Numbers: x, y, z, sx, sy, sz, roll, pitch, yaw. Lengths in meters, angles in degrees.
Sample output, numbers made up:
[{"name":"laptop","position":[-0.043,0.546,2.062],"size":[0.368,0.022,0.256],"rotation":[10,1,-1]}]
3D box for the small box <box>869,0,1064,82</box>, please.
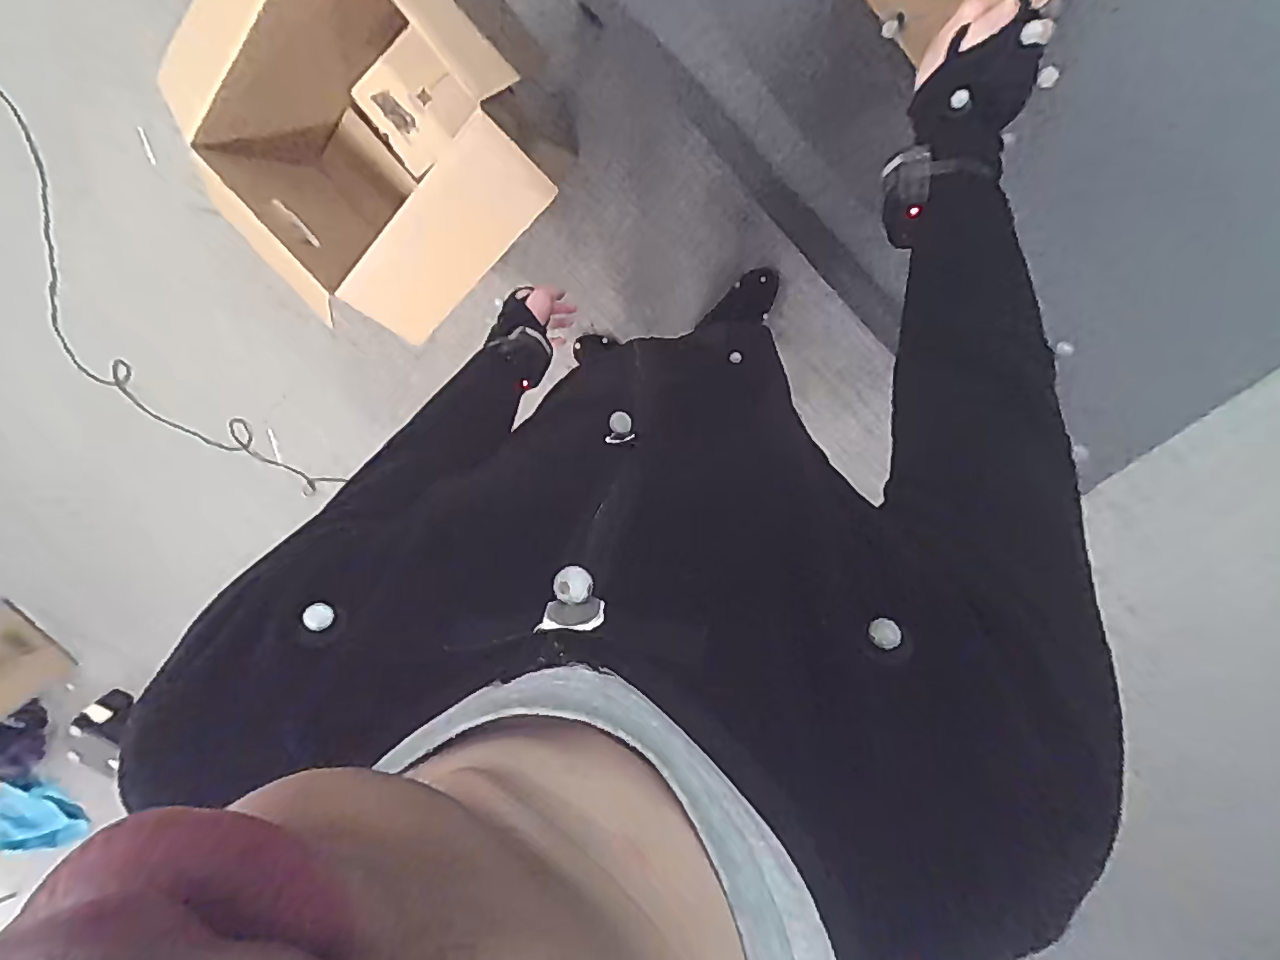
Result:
[{"name":"small box","position":[0.313,-0.497,0.477],"size":[0.179,0.176,0.168],"rotation":[44,114,-10]}]
